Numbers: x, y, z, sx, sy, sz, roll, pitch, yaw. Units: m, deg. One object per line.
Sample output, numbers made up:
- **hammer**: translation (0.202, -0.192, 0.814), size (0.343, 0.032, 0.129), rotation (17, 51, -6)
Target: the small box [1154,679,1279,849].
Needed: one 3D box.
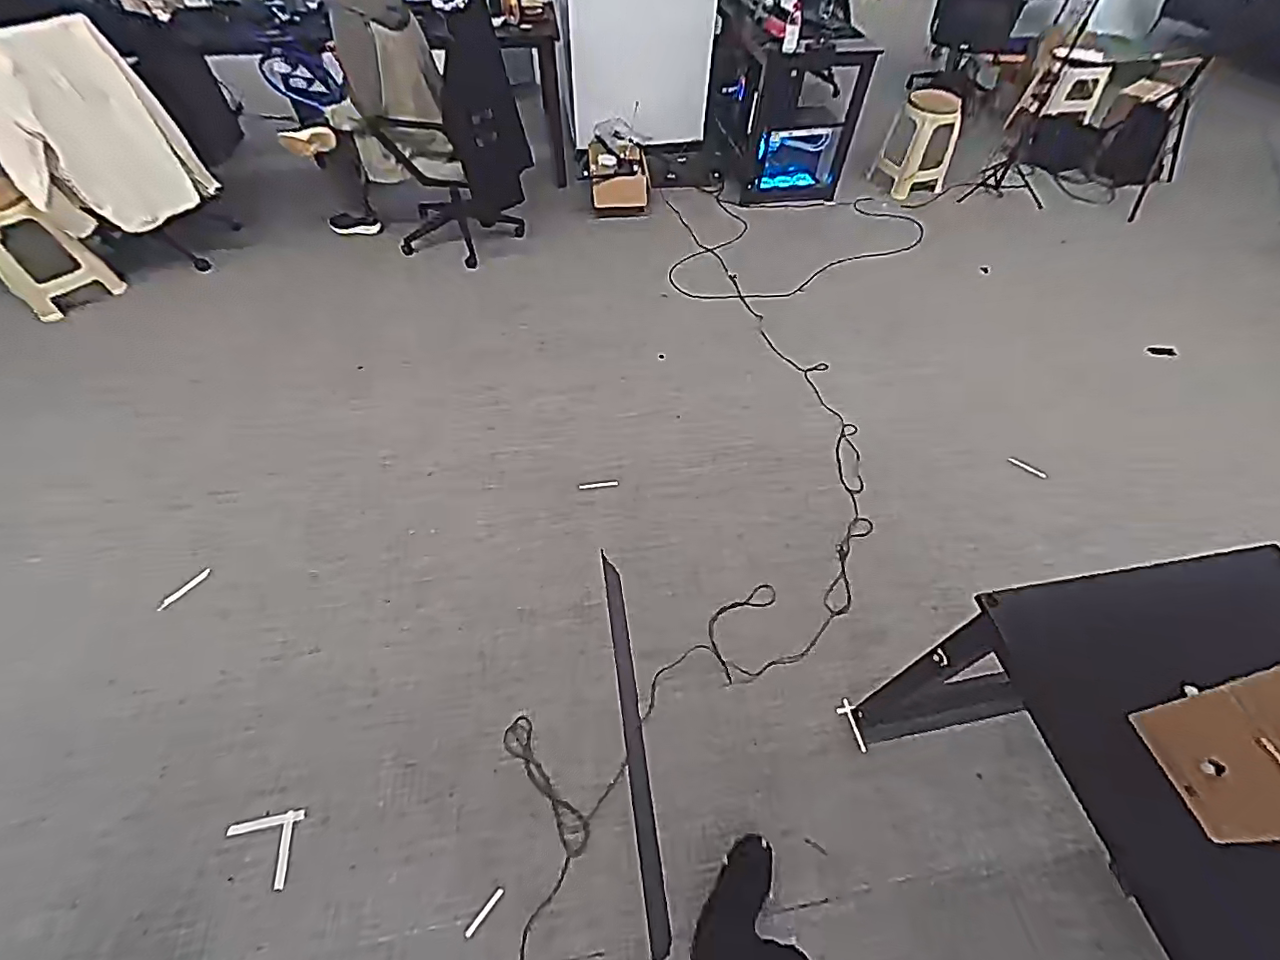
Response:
- **small box**: translation (0.831, 0.358, 0.695), size (0.179, 0.176, 0.168), rotation (-9, 54, -7)
